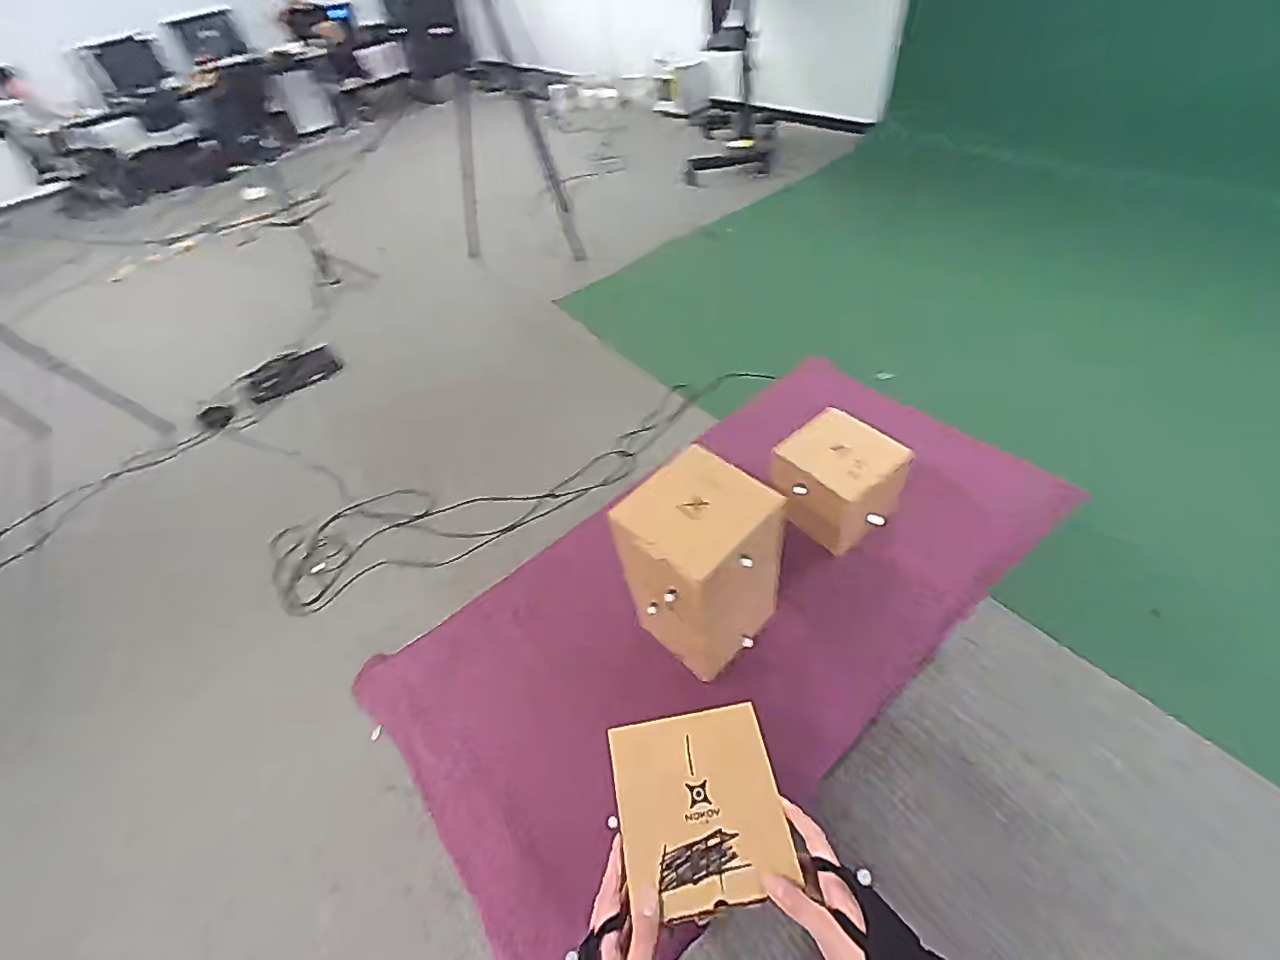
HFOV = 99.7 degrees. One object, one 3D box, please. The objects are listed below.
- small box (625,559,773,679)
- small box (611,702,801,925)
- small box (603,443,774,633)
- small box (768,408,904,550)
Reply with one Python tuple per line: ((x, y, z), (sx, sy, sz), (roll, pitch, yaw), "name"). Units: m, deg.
((0.099, 0.192, 0.906), (0.179, 0.176, 0.168), (-39, 53, -23), "small box")
((0.062, 0.375, 0.609), (0.168, 0.176, 0.179), (-7, 51, -4), "small box")
((0.076, 0.086, 0.783), (0.179, 0.176, 0.168), (-40, 55, -23), "small box")
((0.359, 0.000, 1.029), (0.168, 0.176, 0.179), (-34, 52, -19), "small box")
